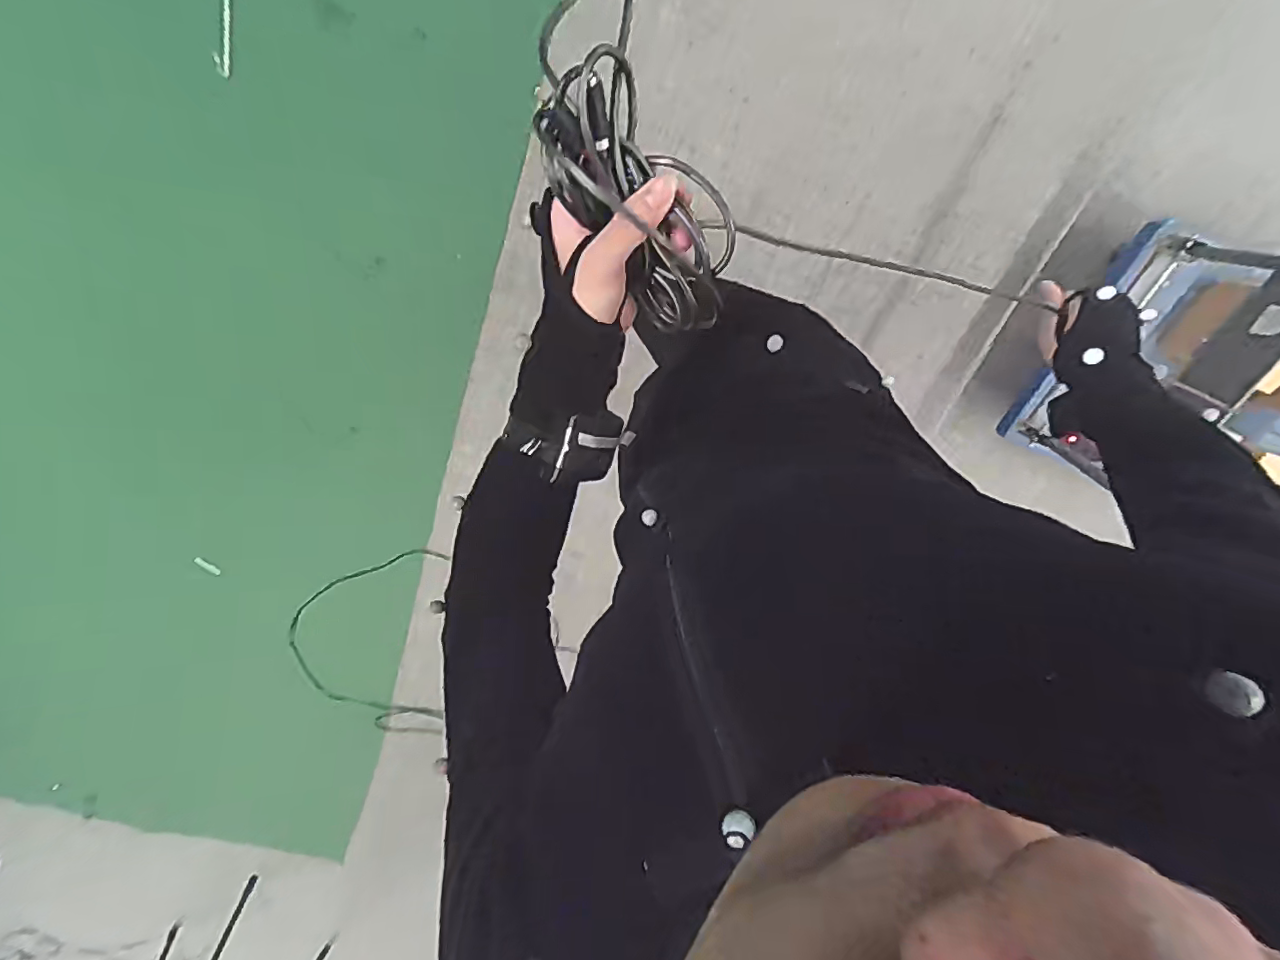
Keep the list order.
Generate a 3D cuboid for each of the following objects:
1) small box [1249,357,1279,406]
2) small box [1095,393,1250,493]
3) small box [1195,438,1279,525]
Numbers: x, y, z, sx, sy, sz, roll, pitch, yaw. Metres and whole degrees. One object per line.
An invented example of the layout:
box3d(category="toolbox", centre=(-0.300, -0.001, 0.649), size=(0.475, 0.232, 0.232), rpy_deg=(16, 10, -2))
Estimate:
box3d(category="small box", centre=(1.637, -0.228, 1.275), size=(0.179, 0.176, 0.168), rpy_deg=(14, 119, -7))
box3d(category="small box", centre=(1.314, -0.099, 1.350), size=(0.179, 0.176, 0.168), rpy_deg=(19, 117, -9))
box3d(category="small box", centre=(1.561, -0.013, 1.393), size=(0.179, 0.176, 0.168), rpy_deg=(16, 117, -7))
